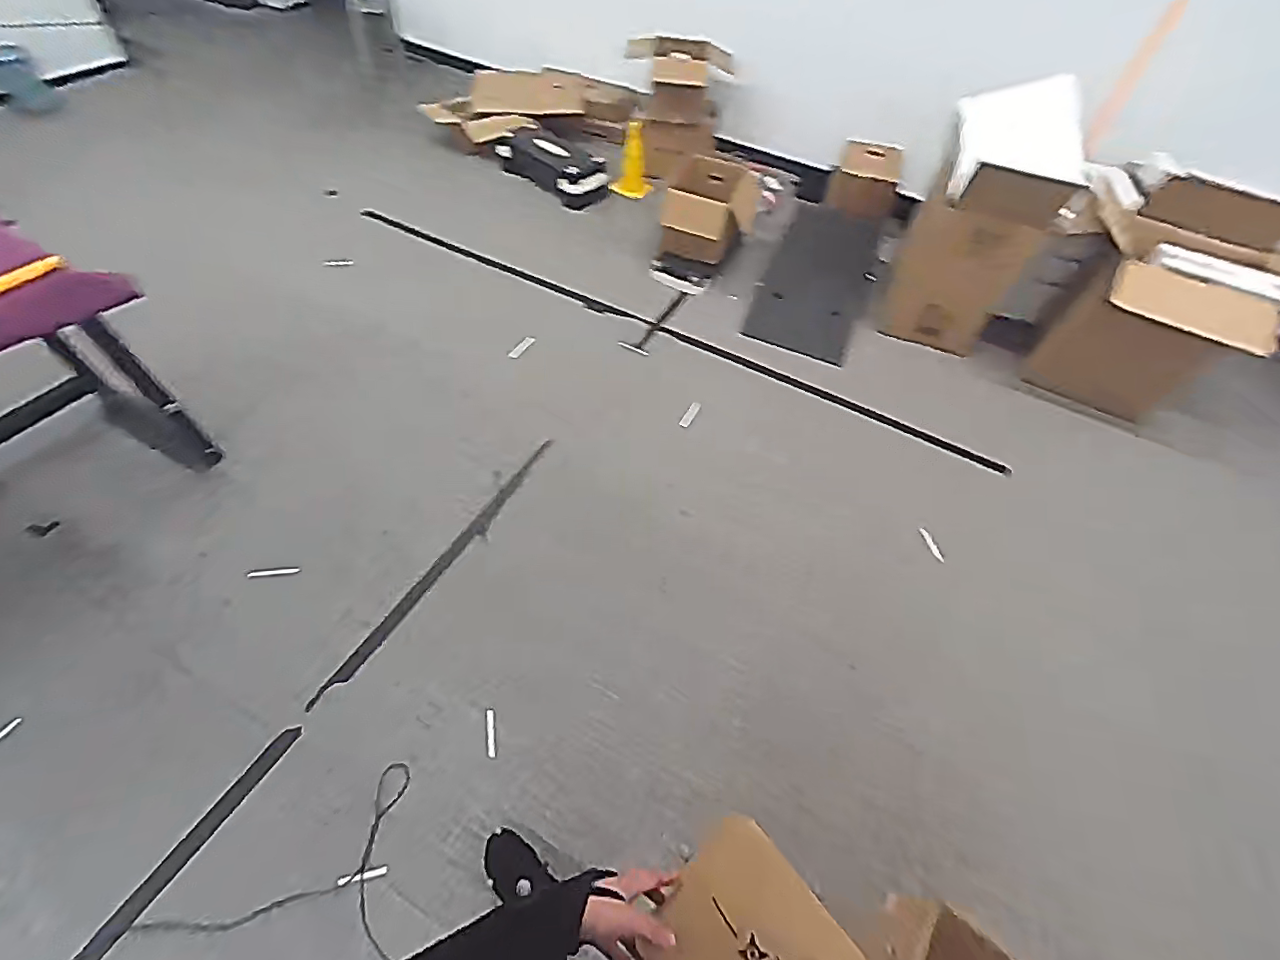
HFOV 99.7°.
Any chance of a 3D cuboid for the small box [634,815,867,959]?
[{"bbox_3d":[0.111,0.495,0.585,0.168,0.176,0.179,-37,66,-19],"label":"small box"}]
